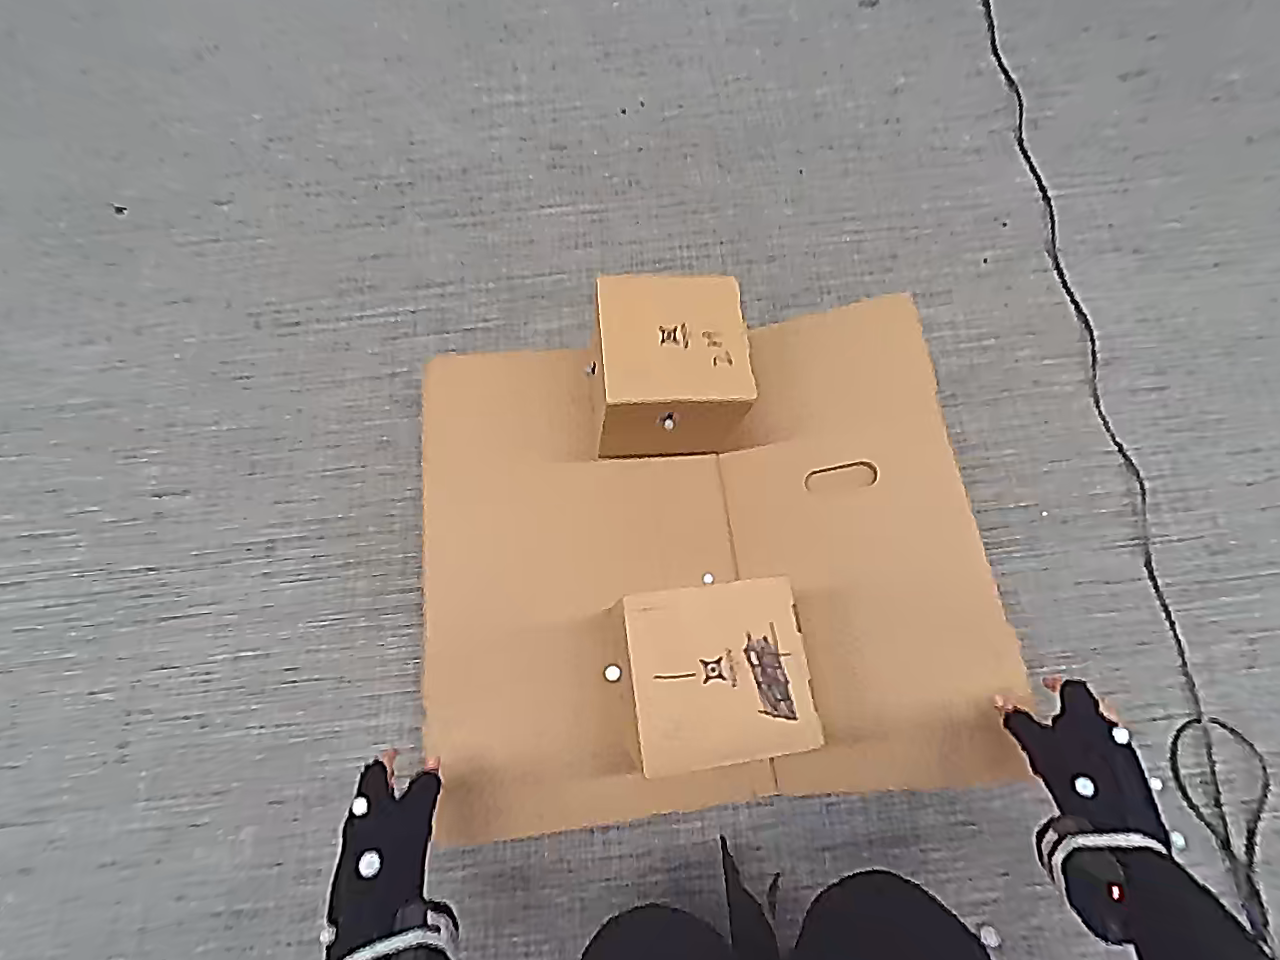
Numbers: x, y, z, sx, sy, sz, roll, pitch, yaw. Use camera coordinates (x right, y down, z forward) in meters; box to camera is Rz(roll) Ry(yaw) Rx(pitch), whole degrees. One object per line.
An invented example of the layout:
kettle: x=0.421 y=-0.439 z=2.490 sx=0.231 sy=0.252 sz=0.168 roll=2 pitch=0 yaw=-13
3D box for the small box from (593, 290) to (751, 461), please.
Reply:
small box: x=0.029 y=-0.128 z=0.711 sx=0.179 sy=0.176 sz=0.168 roll=-2 pitch=73 yaw=-8

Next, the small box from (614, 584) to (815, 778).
small box: x=0.068 y=0.215 z=0.610 sx=0.179 sy=0.176 sz=0.168 roll=-6 pitch=73 yaw=-6
